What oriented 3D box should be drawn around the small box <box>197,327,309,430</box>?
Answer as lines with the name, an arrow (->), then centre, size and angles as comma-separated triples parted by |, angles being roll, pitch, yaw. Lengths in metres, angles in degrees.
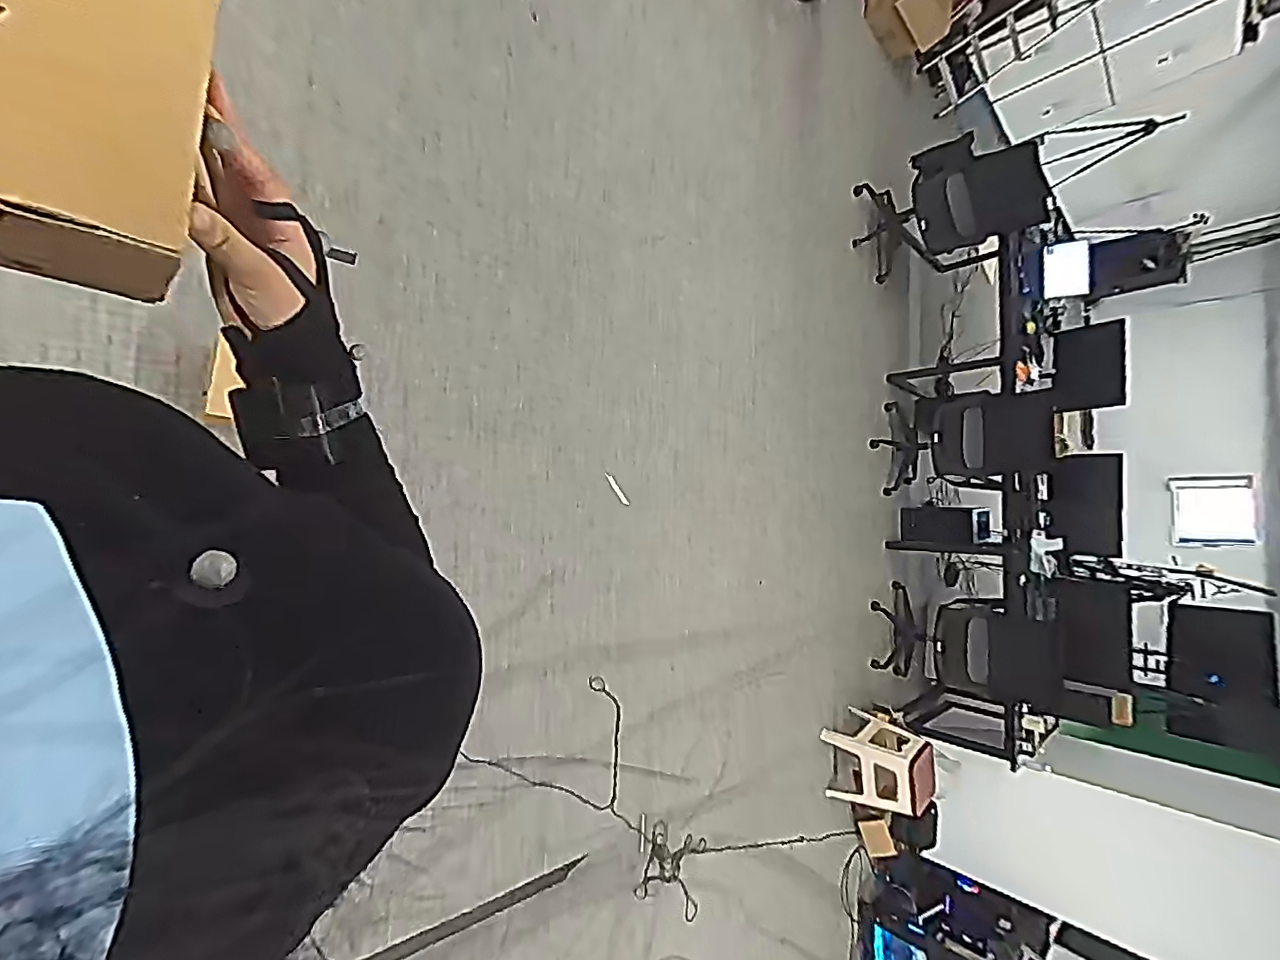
small box -> -0.860, -0.213, 1.198 | 0.168, 0.176, 0.179 | 12, 80, -43

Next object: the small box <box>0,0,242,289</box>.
small box -> -0.314, -0.212, 0.260 | 0.168, 0.176, 0.179 | 7, 91, -46
